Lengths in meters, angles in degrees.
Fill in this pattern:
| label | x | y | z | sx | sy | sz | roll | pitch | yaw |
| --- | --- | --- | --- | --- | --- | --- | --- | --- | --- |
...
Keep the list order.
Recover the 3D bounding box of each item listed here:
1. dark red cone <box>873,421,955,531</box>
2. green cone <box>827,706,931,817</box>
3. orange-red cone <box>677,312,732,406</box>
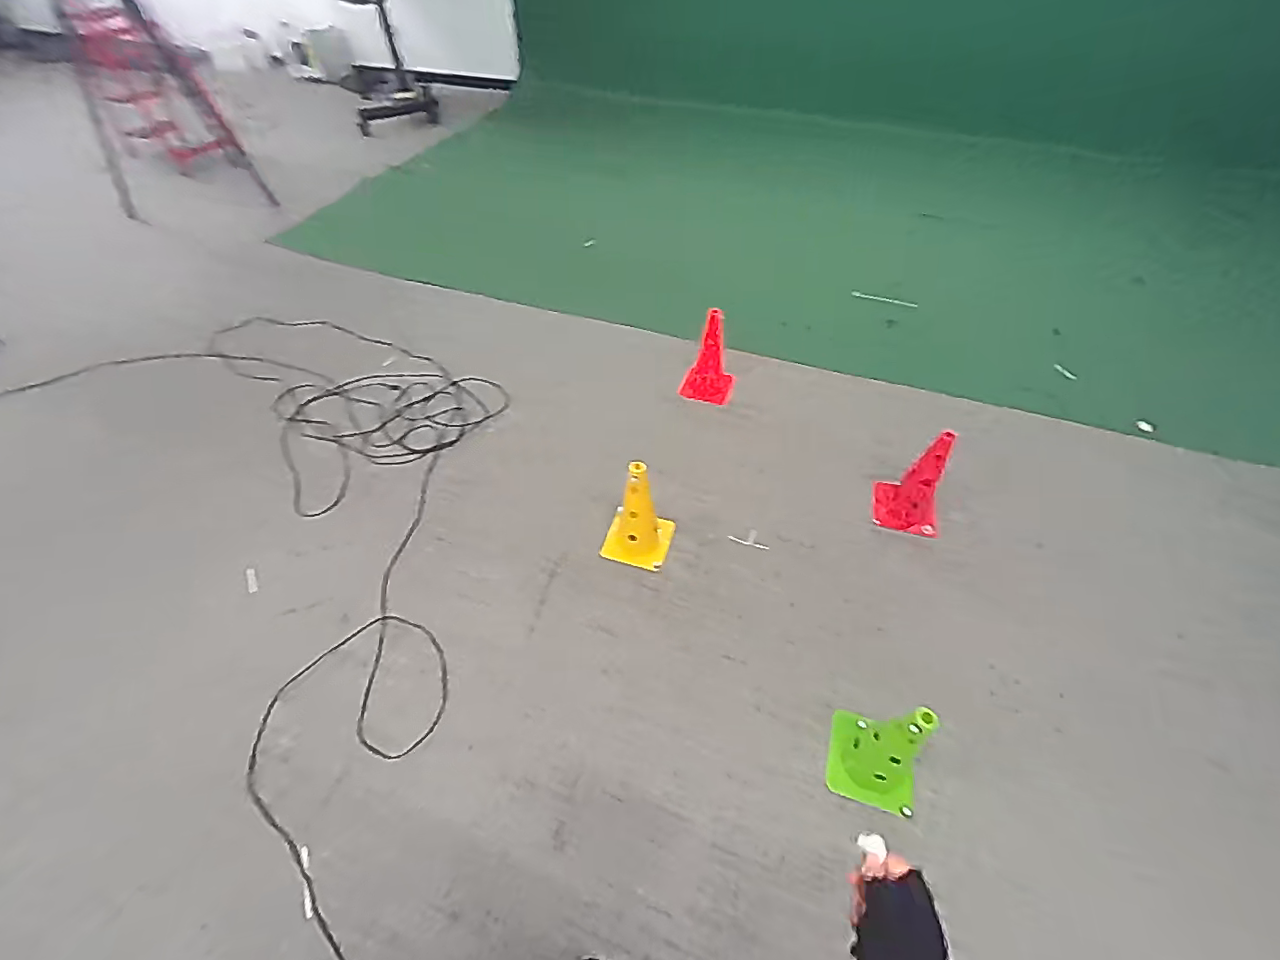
| label | x | y | z | sx | sy | sz | roll | pitch | yaw |
| --- | --- | --- | --- | --- | --- | --- | --- | --- | --- |
| dark red cone | 0.890 | -0.028 | 1.697 | 0.202 | 0.394 | 0.201 | 11 | 49 | 10 |
| green cone | 0.568 | 0.583 | 1.207 | 0.202 | 0.368 | 0.200 | 13 | 50 | 13 |
| orange-red cone | 0.267 | -0.496 | 2.134 | 0.198 | 0.360 | 0.199 | 15 | 52 | 14 |
